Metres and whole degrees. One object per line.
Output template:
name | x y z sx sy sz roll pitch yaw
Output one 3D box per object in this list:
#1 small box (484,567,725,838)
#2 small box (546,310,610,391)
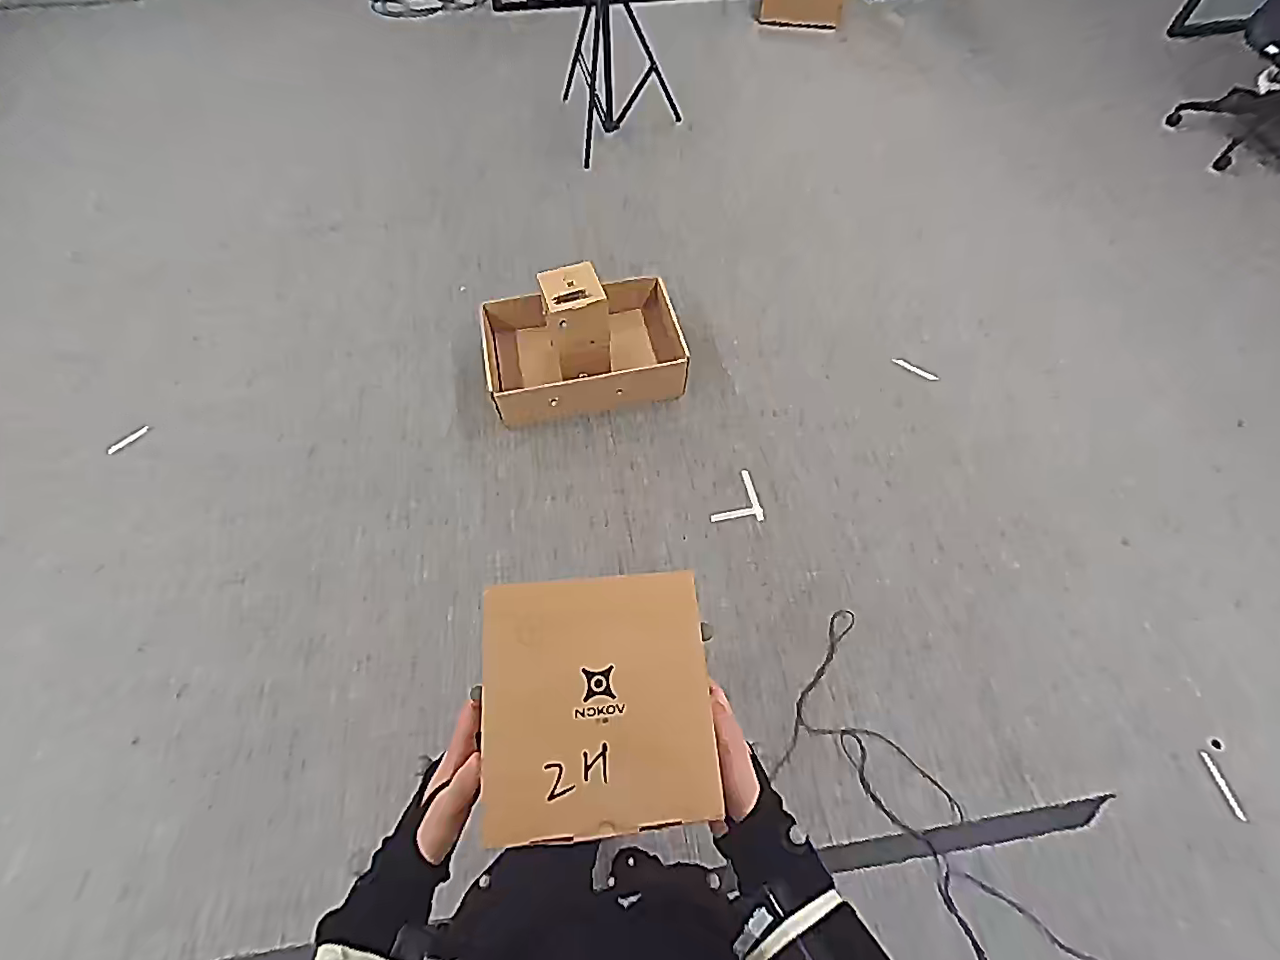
small box | -0.036 0.185 0.469 0.168 0.176 0.179 -3 67 -7
small box | -0.200 -0.419 1.761 0.168 0.176 0.179 -17 63 -9
